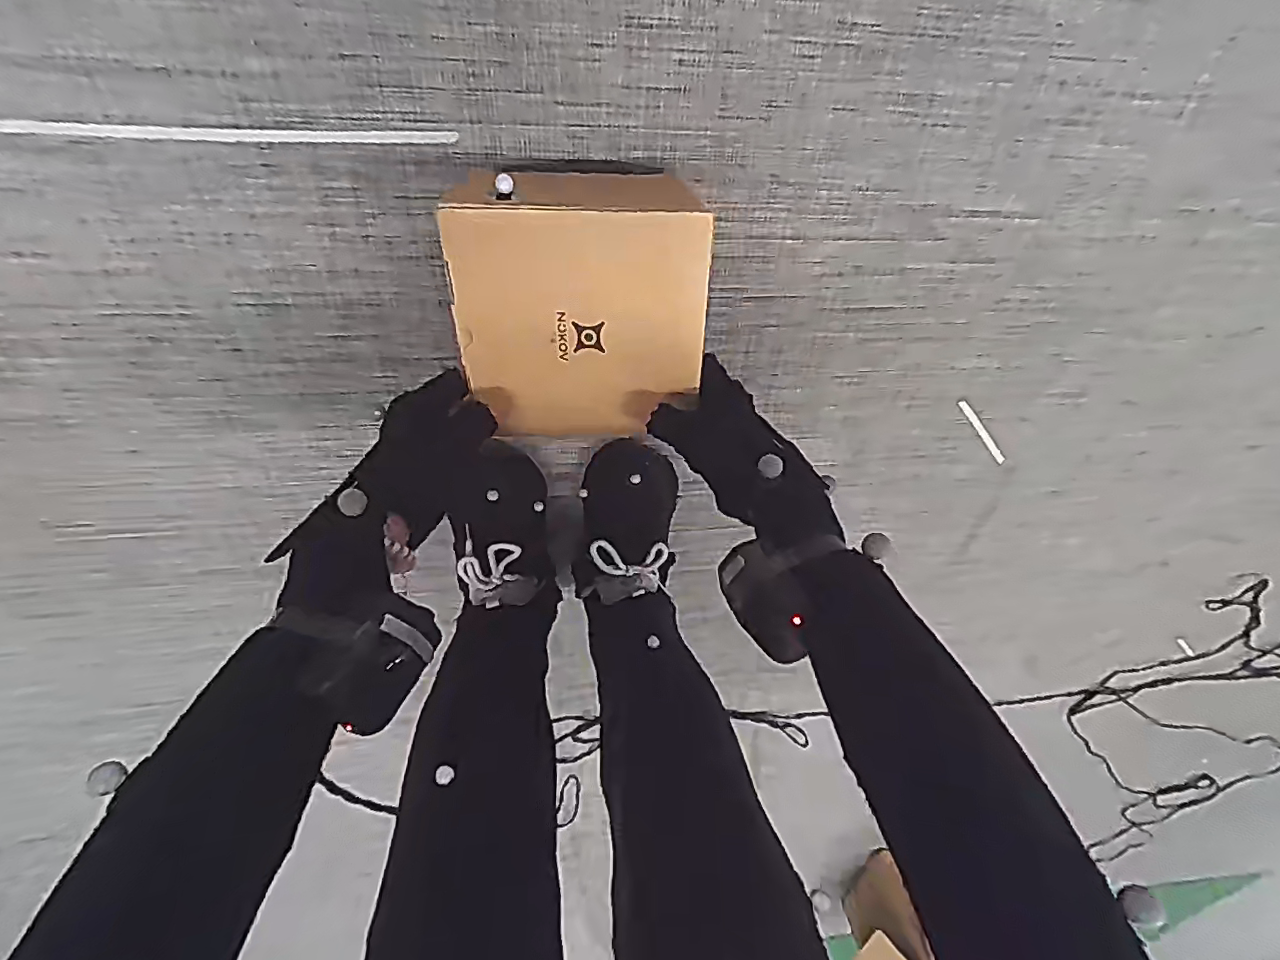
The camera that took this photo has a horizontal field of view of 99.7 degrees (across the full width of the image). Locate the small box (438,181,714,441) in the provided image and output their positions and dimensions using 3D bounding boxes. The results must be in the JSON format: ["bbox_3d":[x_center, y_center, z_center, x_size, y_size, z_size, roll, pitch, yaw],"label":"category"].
[{"bbox_3d":[-0.043,-0.146,0.447,0.179,0.176,0.168,-1,125,-1],"label":"small box"}]
